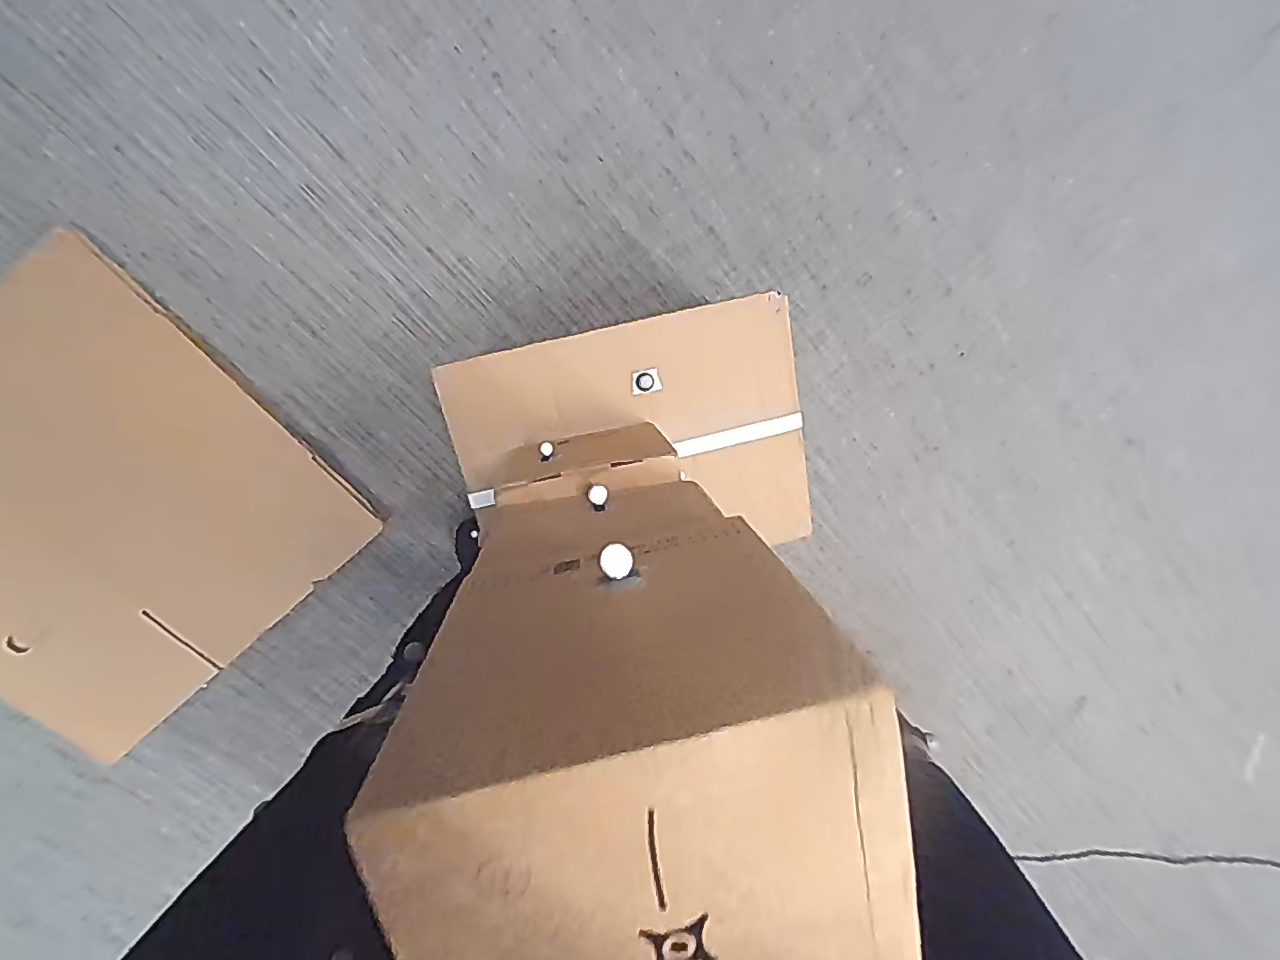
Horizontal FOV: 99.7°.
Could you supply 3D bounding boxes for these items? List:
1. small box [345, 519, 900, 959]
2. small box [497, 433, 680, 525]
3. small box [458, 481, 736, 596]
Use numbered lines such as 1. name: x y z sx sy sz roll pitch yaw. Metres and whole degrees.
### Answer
1. small box: 0.001 0.137 0.261 0.168 0.176 0.179 -13 104 -3
2. small box: -0.041 0.055 0.576 0.168 0.176 0.179 -12 107 -2
3. small box: -0.020 0.107 0.424 0.179 0.176 0.168 -11 103 -4
